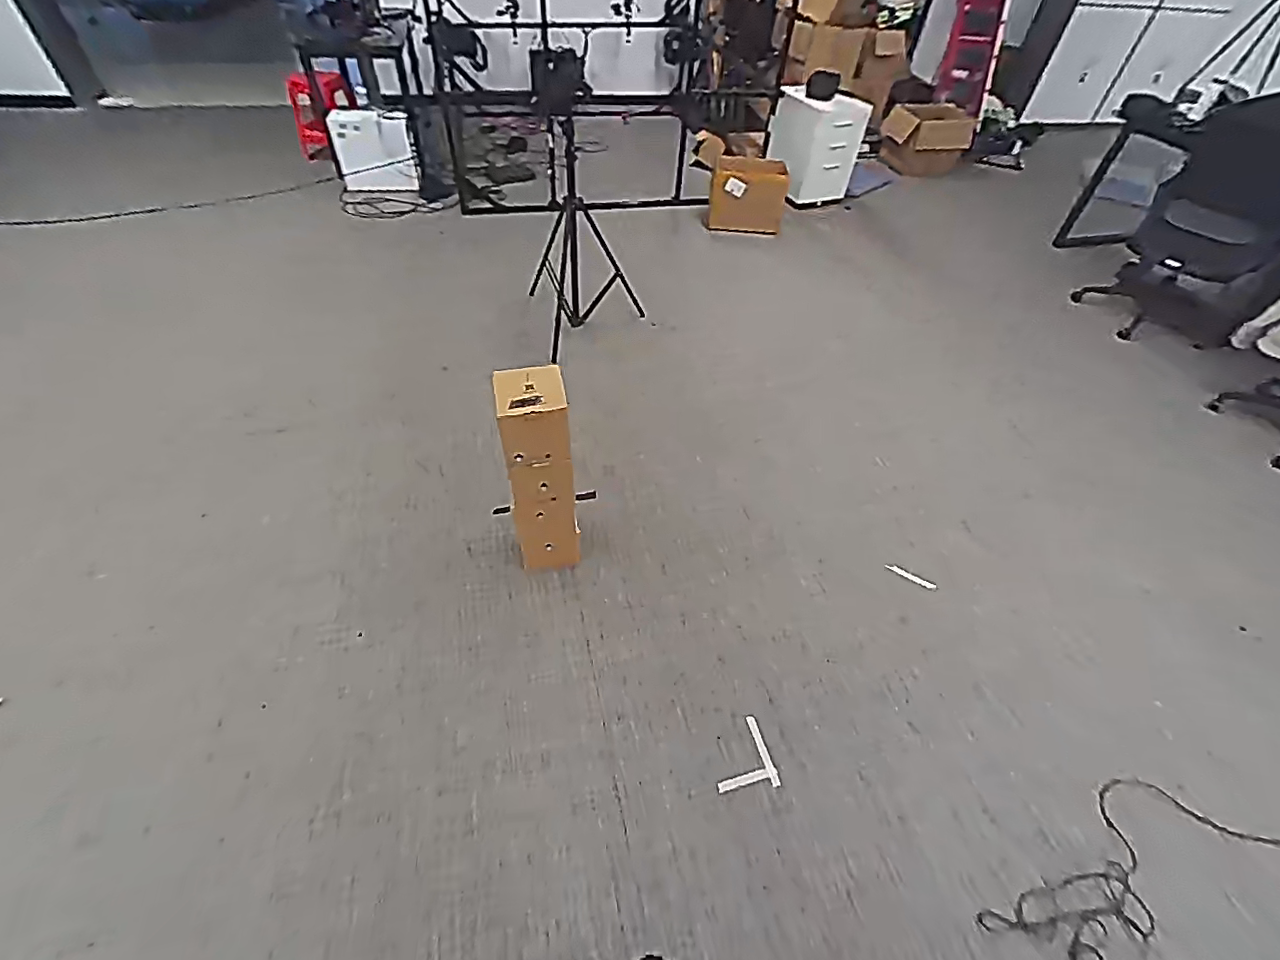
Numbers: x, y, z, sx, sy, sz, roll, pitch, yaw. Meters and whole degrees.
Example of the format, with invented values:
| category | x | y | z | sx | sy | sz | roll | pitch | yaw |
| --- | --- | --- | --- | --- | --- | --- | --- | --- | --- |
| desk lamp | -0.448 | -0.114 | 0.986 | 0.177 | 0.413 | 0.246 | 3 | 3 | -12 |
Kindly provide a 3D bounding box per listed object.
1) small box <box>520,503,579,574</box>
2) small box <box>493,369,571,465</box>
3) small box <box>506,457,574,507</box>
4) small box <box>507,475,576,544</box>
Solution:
| category | x | y | z | sx | sy | sz | roll | pitch | yaw |
| --- | --- | --- | --- | --- | --- | --- | --- | --- | --- |
| small box | -0.291 | 0.177 | 1.716 | 0.179 | 0.176 | 0.168 | -9 | 50 | -11 |
| small box | -0.268 | -0.152 | 1.351 | 0.168 | 0.176 | 0.179 | -8 | 48 | -11 |
| small box | -0.272 | -0.041 | 1.472 | 0.168 | 0.176 | 0.179 | -7 | 50 | -10 |
| small box | -0.288 | 0.071 | 1.590 | 0.179 | 0.176 | 0.168 | -7 | 50 | -10 |
